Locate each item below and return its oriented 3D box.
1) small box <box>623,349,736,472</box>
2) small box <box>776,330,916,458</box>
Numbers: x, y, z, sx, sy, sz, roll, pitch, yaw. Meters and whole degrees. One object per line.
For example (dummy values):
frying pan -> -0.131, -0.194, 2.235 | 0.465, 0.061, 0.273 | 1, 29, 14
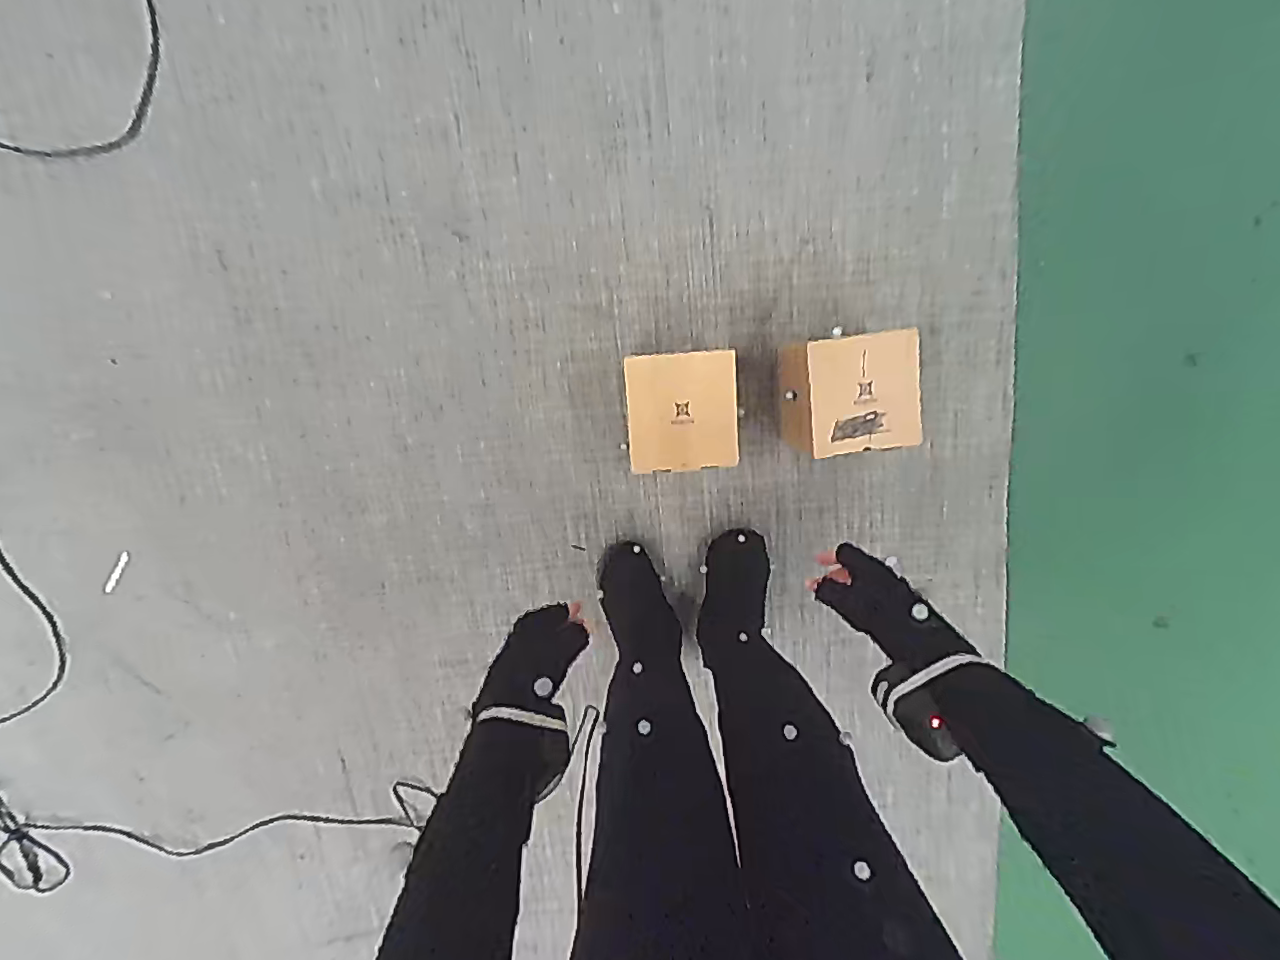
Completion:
small box -> 0.059, -0.117, 0.885 | 0.168, 0.176, 0.179 | -4, 102, 1
small box -> 0.326, -0.143, 0.879 | 0.168, 0.176, 0.179 | -7, 101, 1
